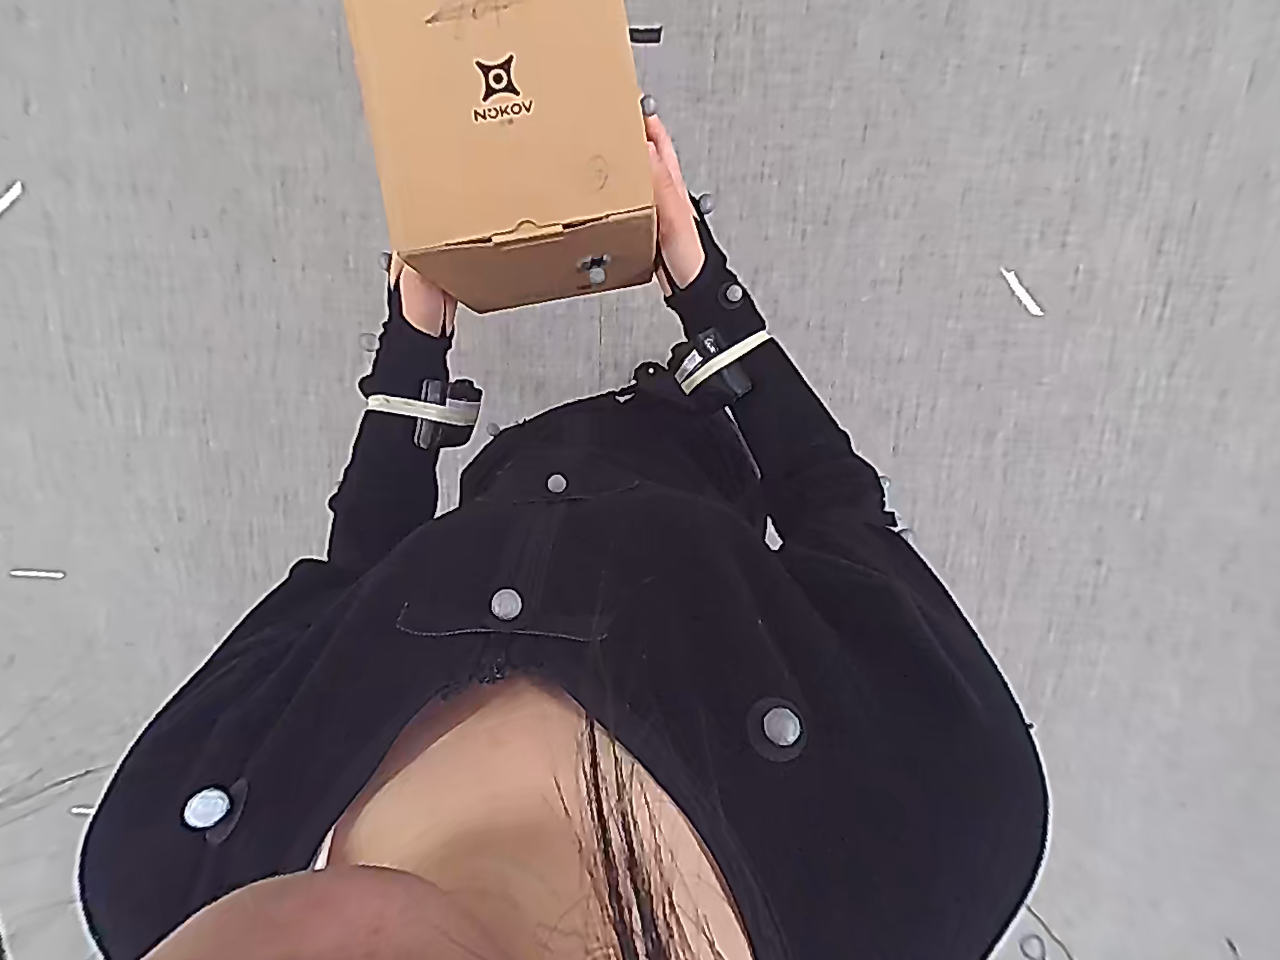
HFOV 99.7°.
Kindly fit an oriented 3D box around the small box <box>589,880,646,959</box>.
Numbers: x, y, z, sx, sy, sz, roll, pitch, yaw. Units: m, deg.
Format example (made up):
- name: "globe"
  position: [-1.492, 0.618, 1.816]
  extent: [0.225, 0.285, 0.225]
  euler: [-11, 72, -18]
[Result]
- name: "small box"
  position: [-0.068, 1.403, 1.688]
  extent: [0.168, 0.176, 0.179]
  euler: [3, 102, 0]
